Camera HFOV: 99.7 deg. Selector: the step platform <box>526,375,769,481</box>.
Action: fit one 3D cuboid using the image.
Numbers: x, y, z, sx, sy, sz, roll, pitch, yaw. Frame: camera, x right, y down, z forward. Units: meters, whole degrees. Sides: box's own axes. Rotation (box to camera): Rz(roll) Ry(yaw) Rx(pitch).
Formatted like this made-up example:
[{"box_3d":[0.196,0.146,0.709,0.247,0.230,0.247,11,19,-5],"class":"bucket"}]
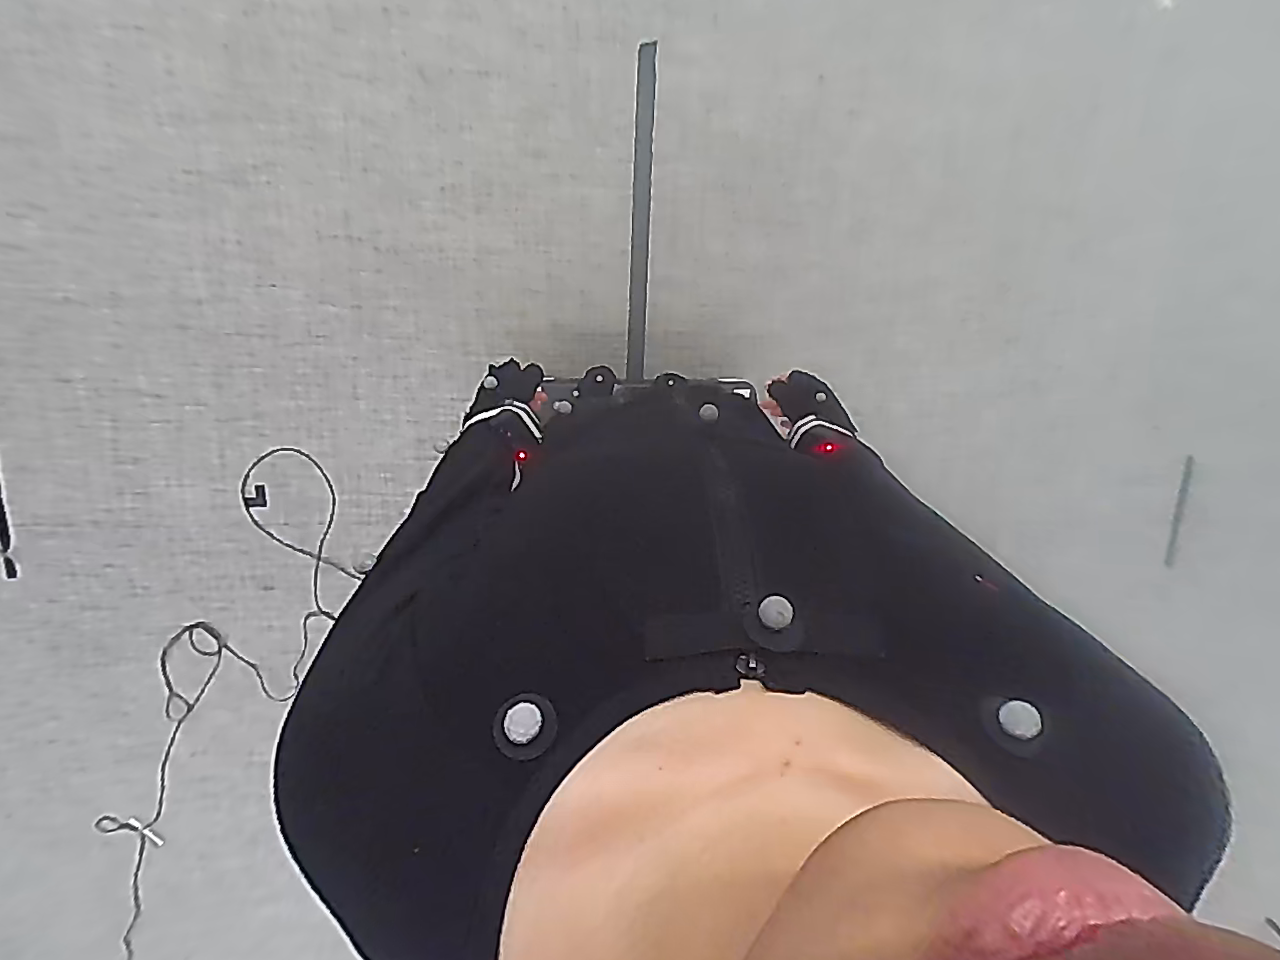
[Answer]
[{"box_3d":[0.021,-0.153,1.554,0.684,0.204,0.286,-1,102,-4],"class":"step platform"}]
